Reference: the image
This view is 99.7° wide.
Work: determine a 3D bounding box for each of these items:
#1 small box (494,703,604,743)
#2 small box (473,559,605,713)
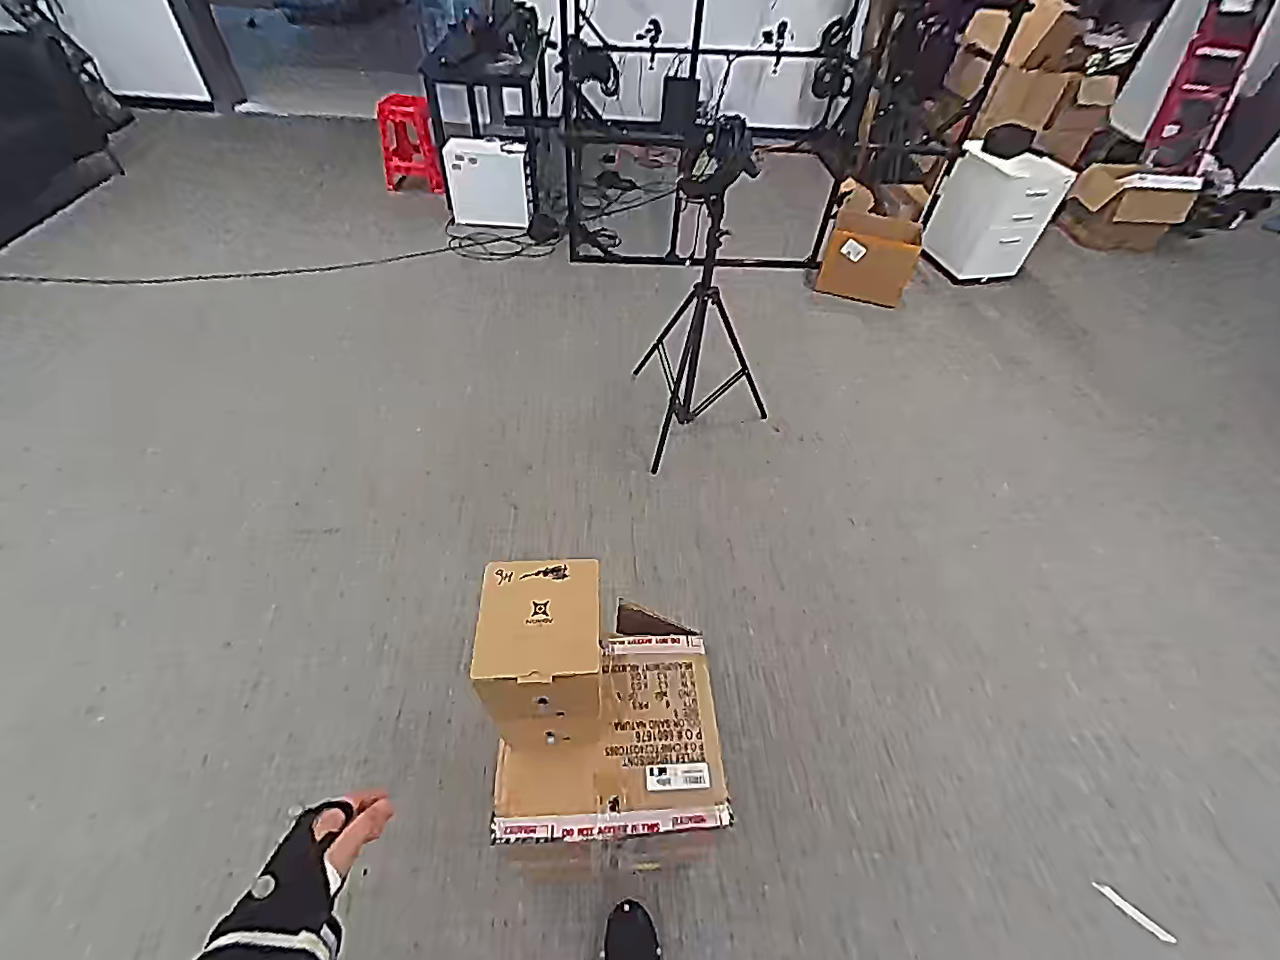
[{"bbox_3d":[-0.149,0.335,0.936,0.168,0.176,0.179,-3,51,-4],"label":"small box"},{"bbox_3d":[-0.138,0.236,0.804,0.168,0.176,0.179,-2,51,-4],"label":"small box"}]
